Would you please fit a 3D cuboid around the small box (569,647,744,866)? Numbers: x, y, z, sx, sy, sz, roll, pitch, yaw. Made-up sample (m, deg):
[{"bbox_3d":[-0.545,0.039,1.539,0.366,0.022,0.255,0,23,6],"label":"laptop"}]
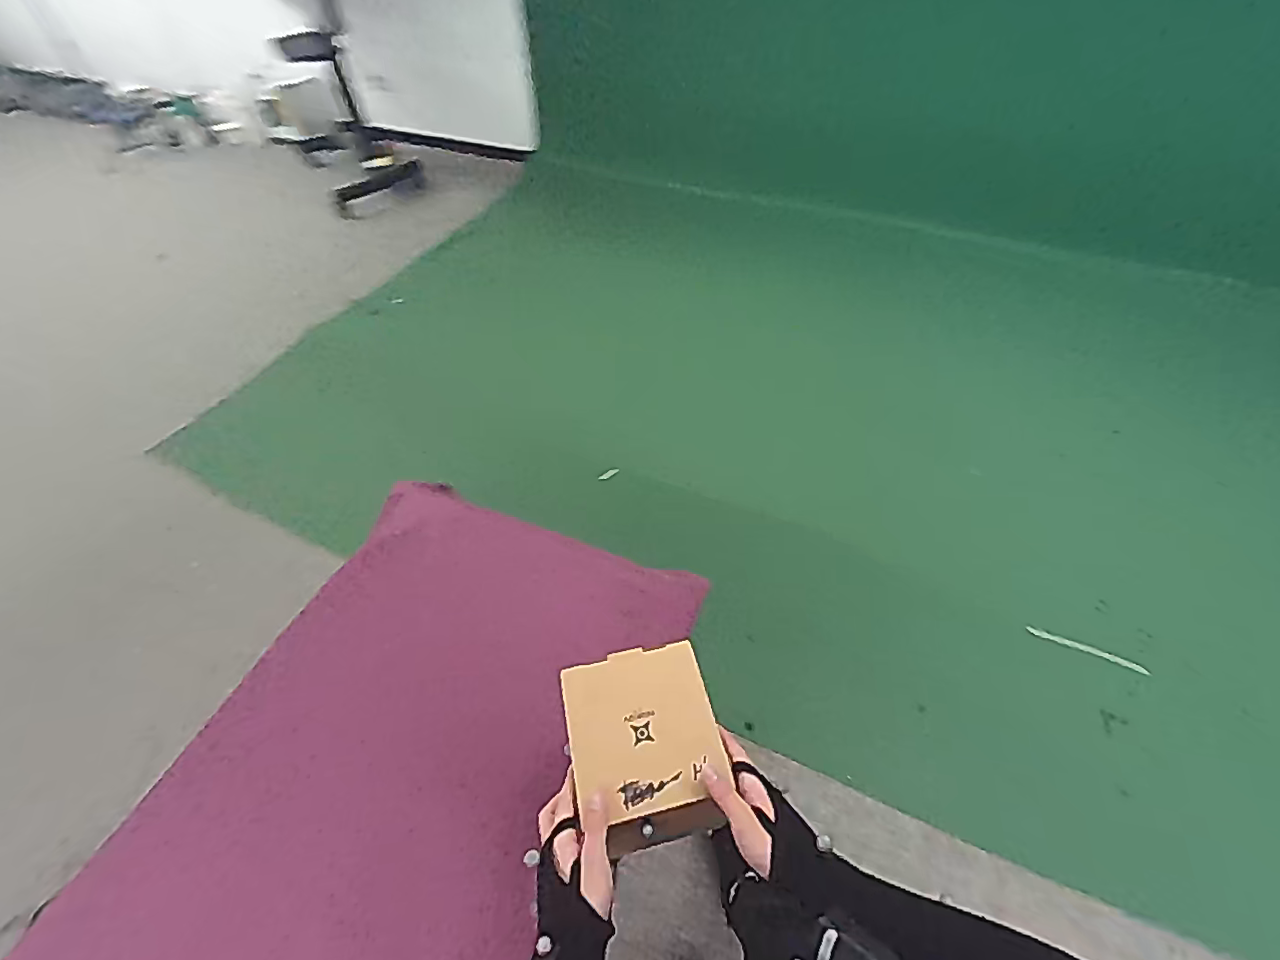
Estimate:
[{"bbox_3d":[0.012,0.332,0.651,0.168,0.176,0.179,-10,47,-6],"label":"small box"}]
